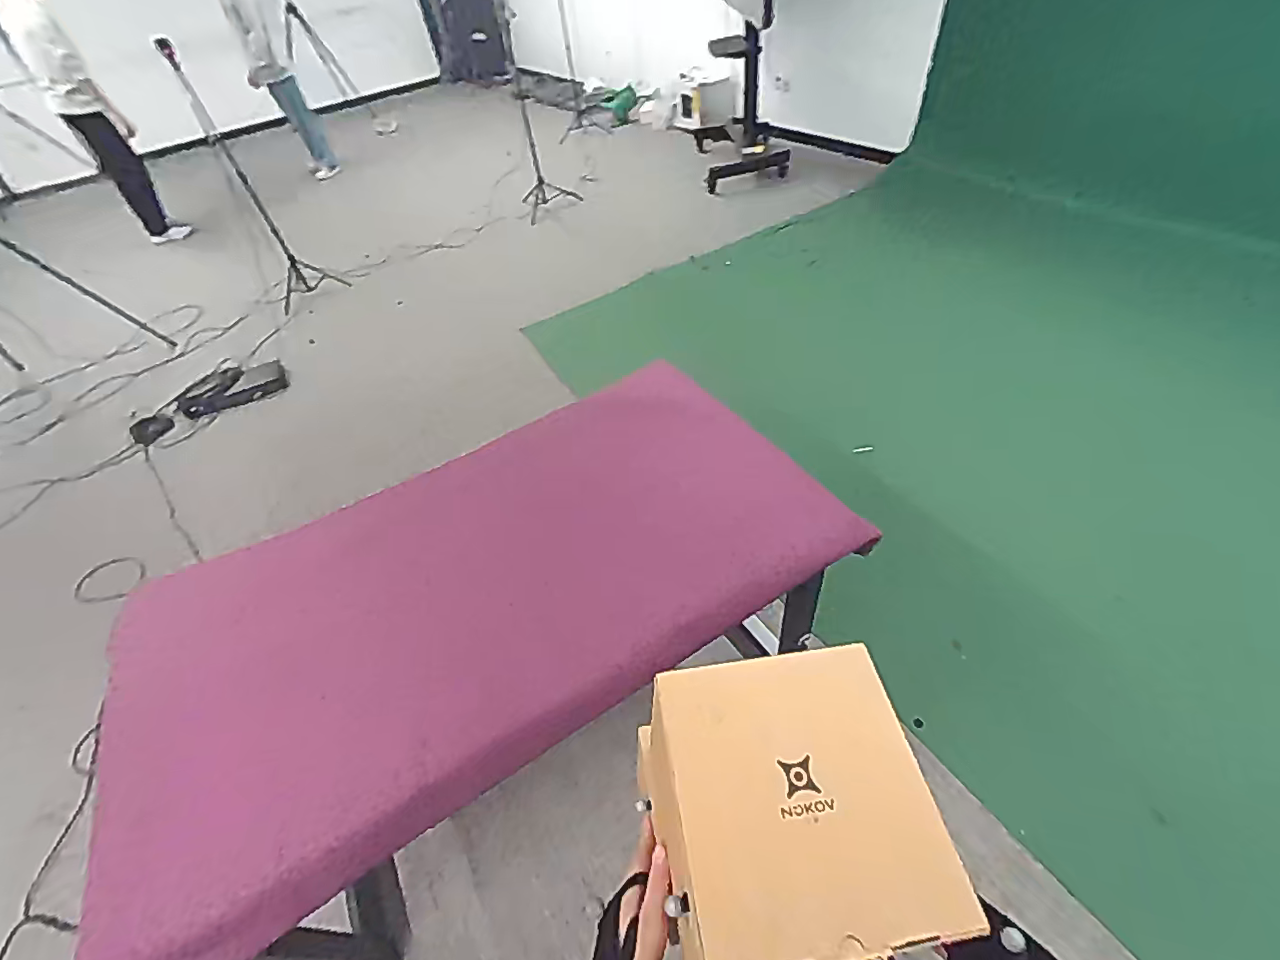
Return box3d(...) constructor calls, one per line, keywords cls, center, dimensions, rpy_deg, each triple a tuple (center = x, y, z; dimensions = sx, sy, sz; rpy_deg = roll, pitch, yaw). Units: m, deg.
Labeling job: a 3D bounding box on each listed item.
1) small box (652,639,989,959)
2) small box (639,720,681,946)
box3d(cls="small box", center=(0.101, 0.245, 0.405), dimensions=(0.168, 0.176, 0.179), rpy_deg=(-7, 48, -5))
box3d(cls="small box", center=(0.097, 0.340, 0.540), dimensions=(0.179, 0.176, 0.168), rpy_deg=(-7, 47, -7))
